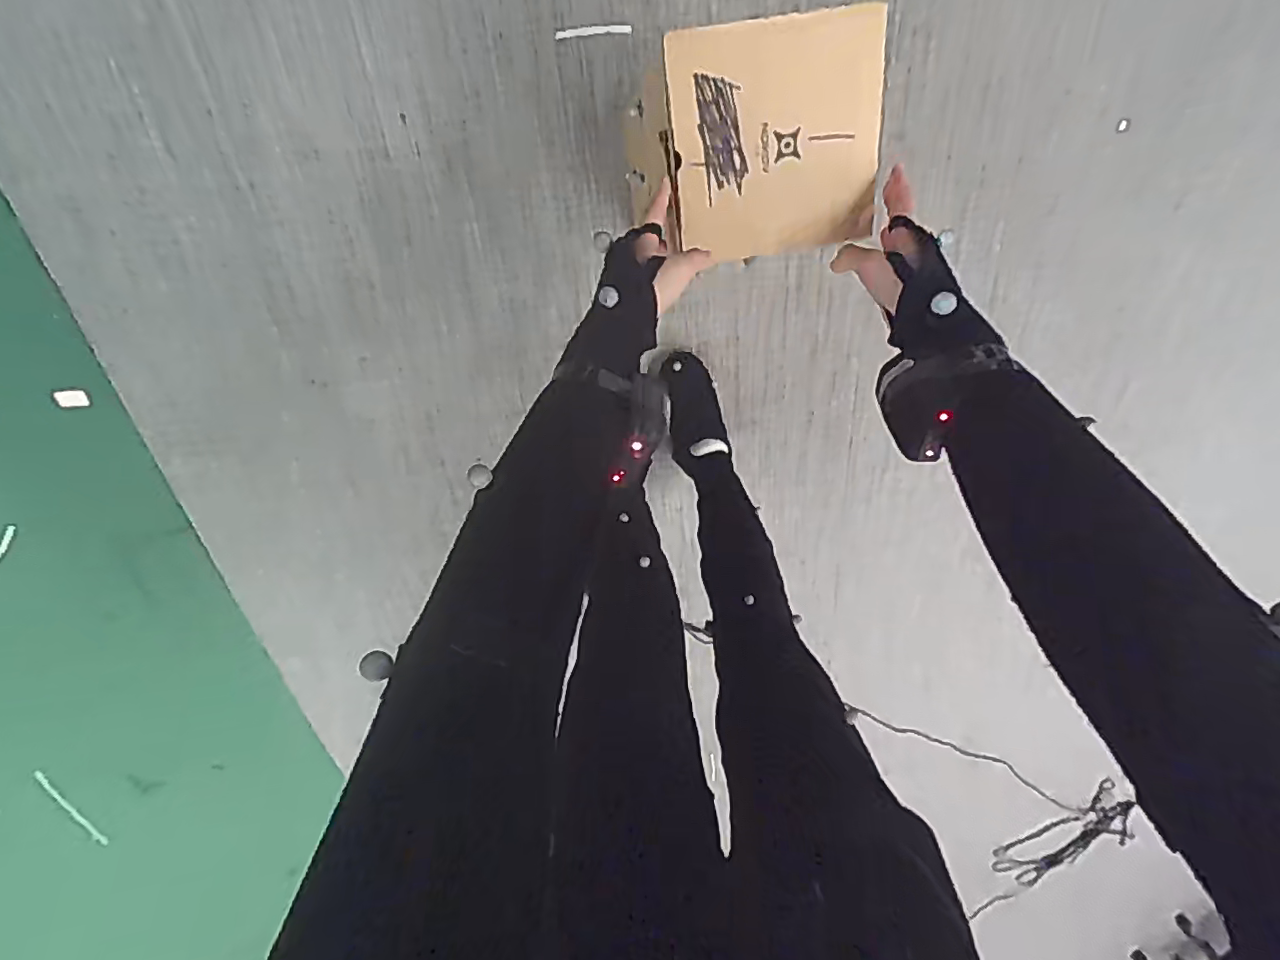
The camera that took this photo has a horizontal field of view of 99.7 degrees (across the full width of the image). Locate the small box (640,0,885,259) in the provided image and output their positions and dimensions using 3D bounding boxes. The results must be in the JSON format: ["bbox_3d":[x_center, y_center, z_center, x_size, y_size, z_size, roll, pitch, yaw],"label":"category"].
[{"bbox_3d":[0.097,-0.310,0.504,0.179,0.176,0.168,-10,118,-3],"label":"small box"}]
